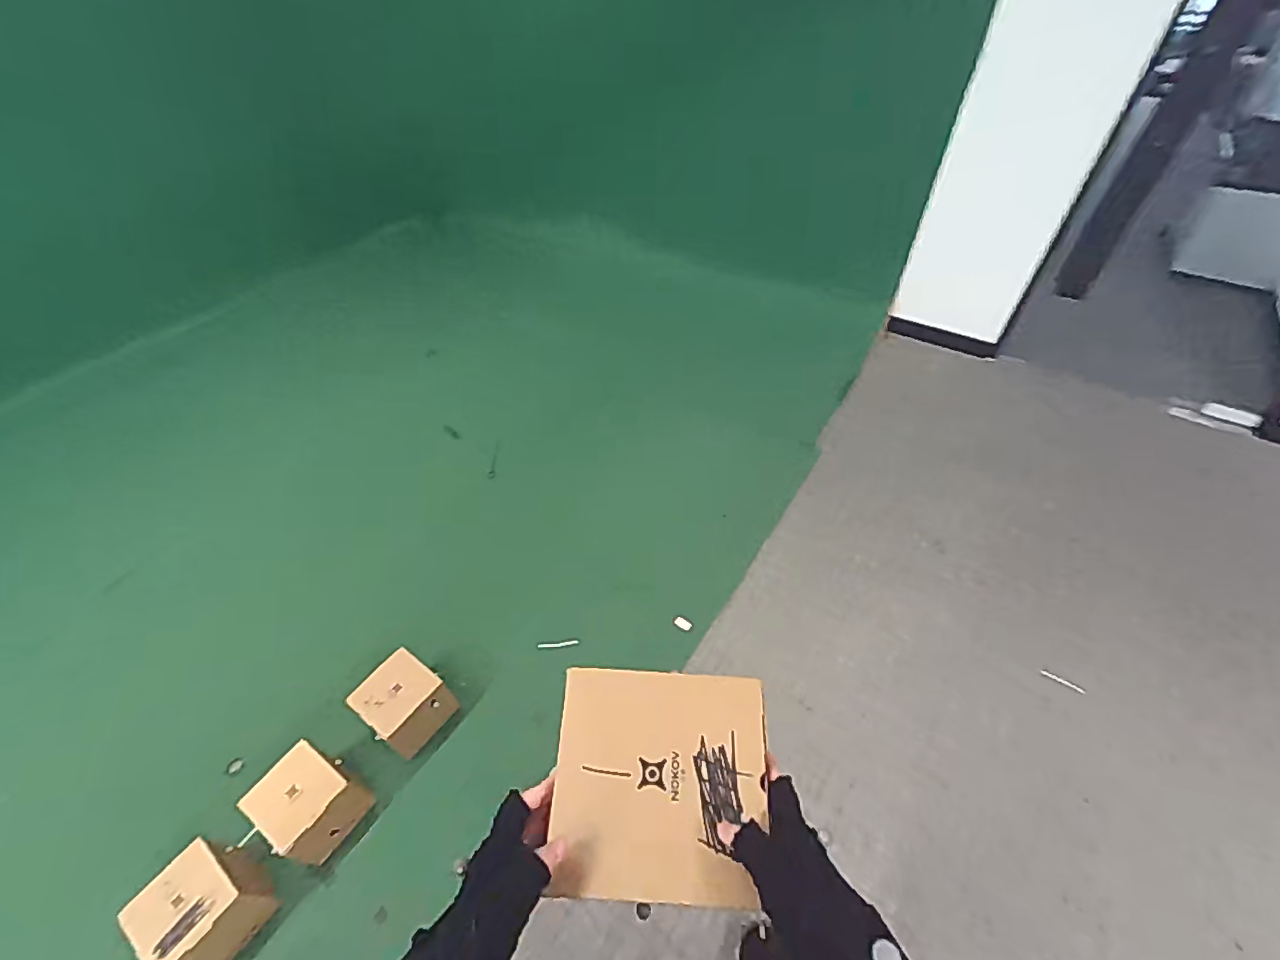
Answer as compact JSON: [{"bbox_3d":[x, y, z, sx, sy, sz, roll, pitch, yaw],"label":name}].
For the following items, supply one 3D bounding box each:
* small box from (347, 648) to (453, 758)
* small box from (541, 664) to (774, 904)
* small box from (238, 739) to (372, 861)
[{"bbox_3d":[-0.609,0.580,1.404,0.168,0.176,0.179,28,54,24],"label":"small box"},{"bbox_3d":[0.015,0.283,0.508,0.179,0.176,0.168,2,55,1],"label":"small box"},{"bbox_3d":[-0.771,0.750,1.260,0.179,0.176,0.168,26,54,22],"label":"small box"}]
